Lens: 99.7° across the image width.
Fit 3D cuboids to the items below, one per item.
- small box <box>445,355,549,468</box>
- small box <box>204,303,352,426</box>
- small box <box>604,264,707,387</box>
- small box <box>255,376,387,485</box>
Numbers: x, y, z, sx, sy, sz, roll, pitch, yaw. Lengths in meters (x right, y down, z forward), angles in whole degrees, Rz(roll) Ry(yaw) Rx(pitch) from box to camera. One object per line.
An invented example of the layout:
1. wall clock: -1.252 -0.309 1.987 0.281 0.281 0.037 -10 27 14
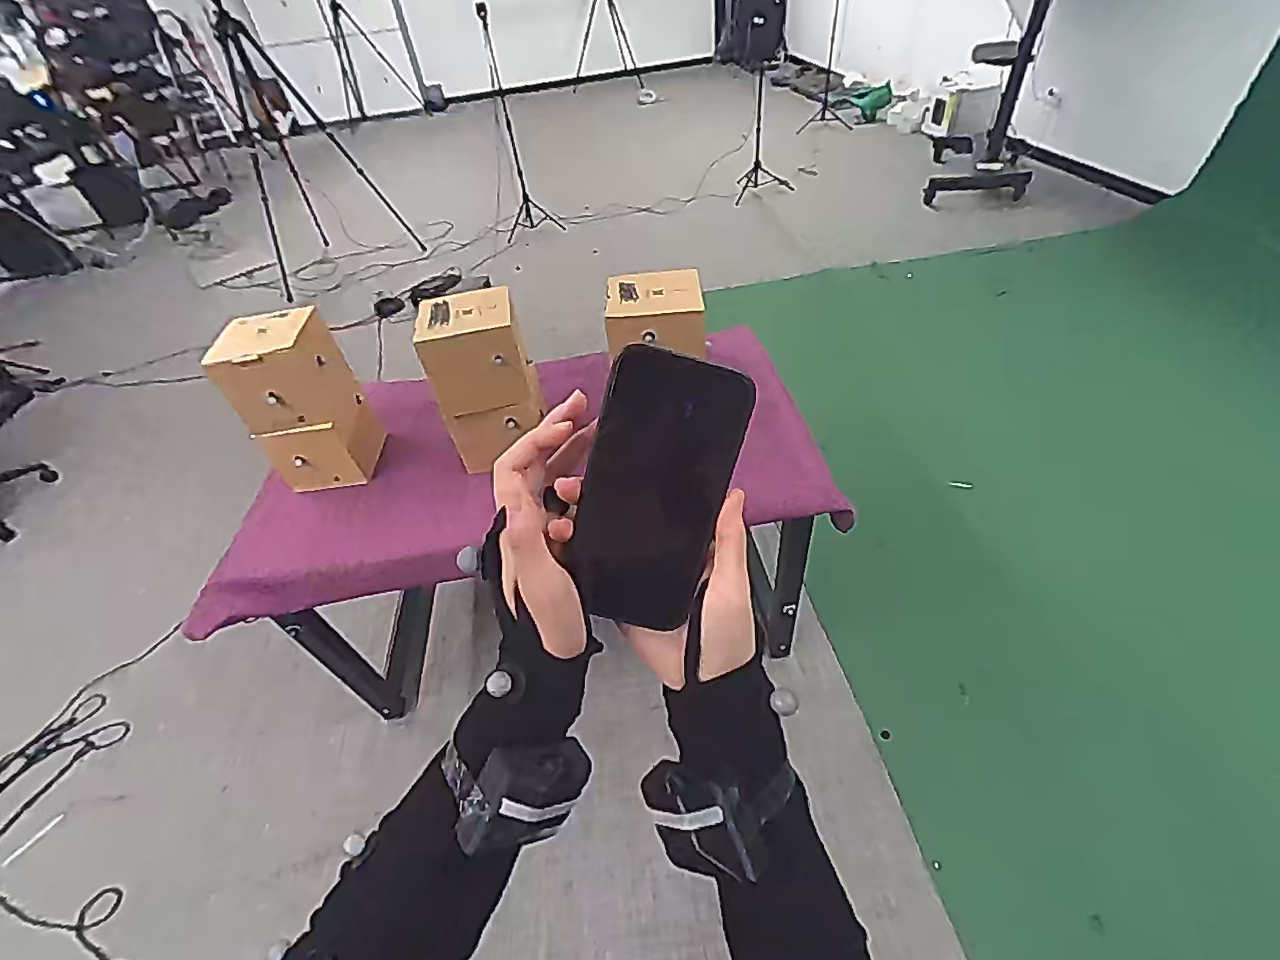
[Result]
1. small box: -0.297 -0.146 1.171 0.179 0.176 0.168 -9 45 0
2. small box: -0.705 -0.223 1.079 0.168 0.176 0.179 -11 45 -3
3. small box: 0.033 -0.291 1.034 0.179 0.176 0.168 -4 45 4
4. small box: -0.685 -0.102 1.189 0.168 0.176 0.179 -8 45 1
